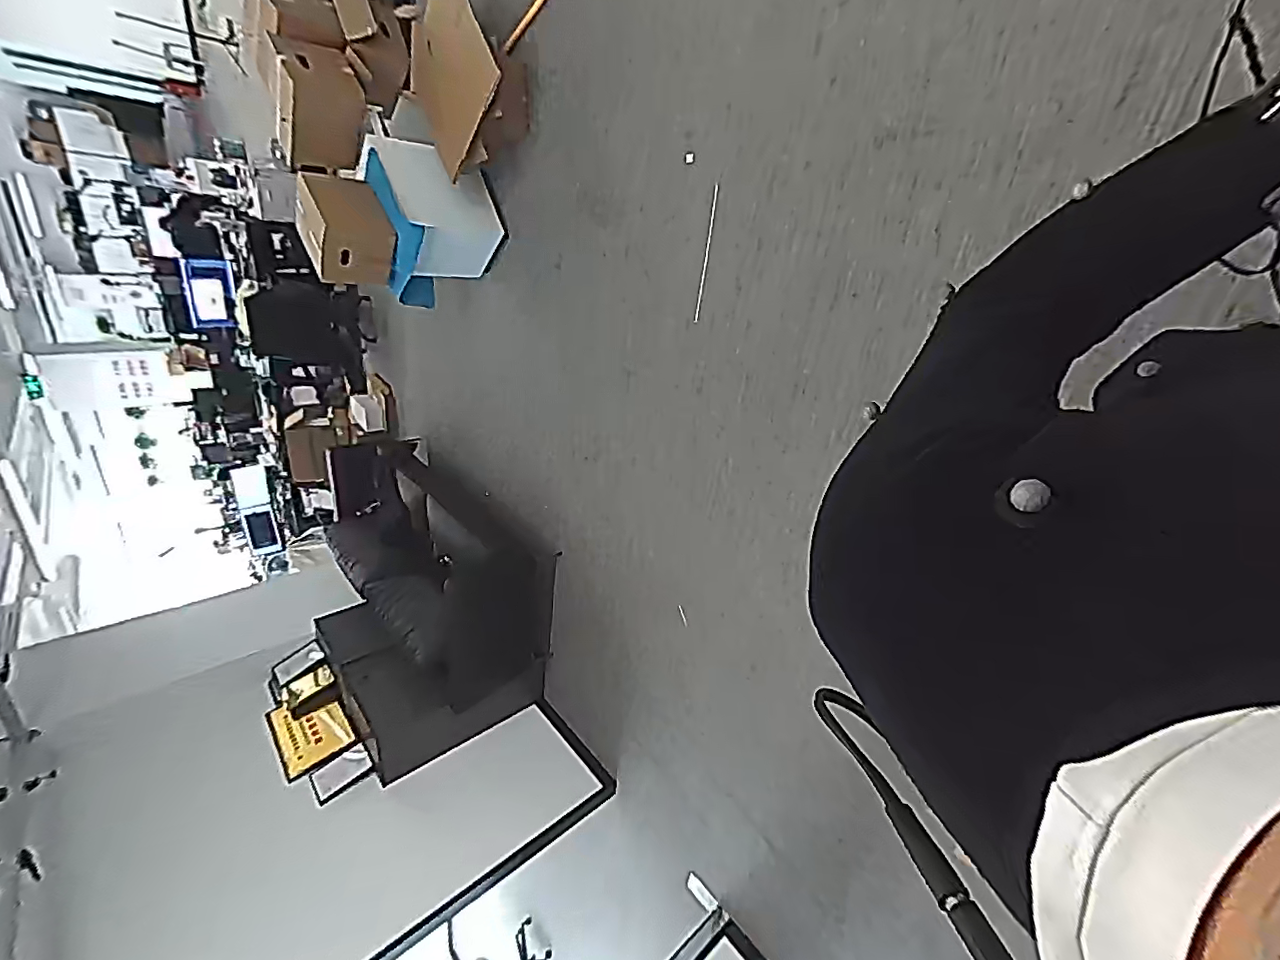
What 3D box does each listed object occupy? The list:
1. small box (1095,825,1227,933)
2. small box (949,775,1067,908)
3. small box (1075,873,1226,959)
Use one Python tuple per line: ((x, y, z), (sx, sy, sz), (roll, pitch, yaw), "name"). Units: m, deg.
((1.212, 0.962, 1.263), (0.168, 0.176, 0.179), (33, 125, 39), "small box")
((0.905, 0.876, 1.328), (0.179, 0.176, 0.168), (30, 122, 40), "small box")
((1.089, 0.991, 1.156), (0.179, 0.176, 0.168), (32, 125, 40), "small box")
